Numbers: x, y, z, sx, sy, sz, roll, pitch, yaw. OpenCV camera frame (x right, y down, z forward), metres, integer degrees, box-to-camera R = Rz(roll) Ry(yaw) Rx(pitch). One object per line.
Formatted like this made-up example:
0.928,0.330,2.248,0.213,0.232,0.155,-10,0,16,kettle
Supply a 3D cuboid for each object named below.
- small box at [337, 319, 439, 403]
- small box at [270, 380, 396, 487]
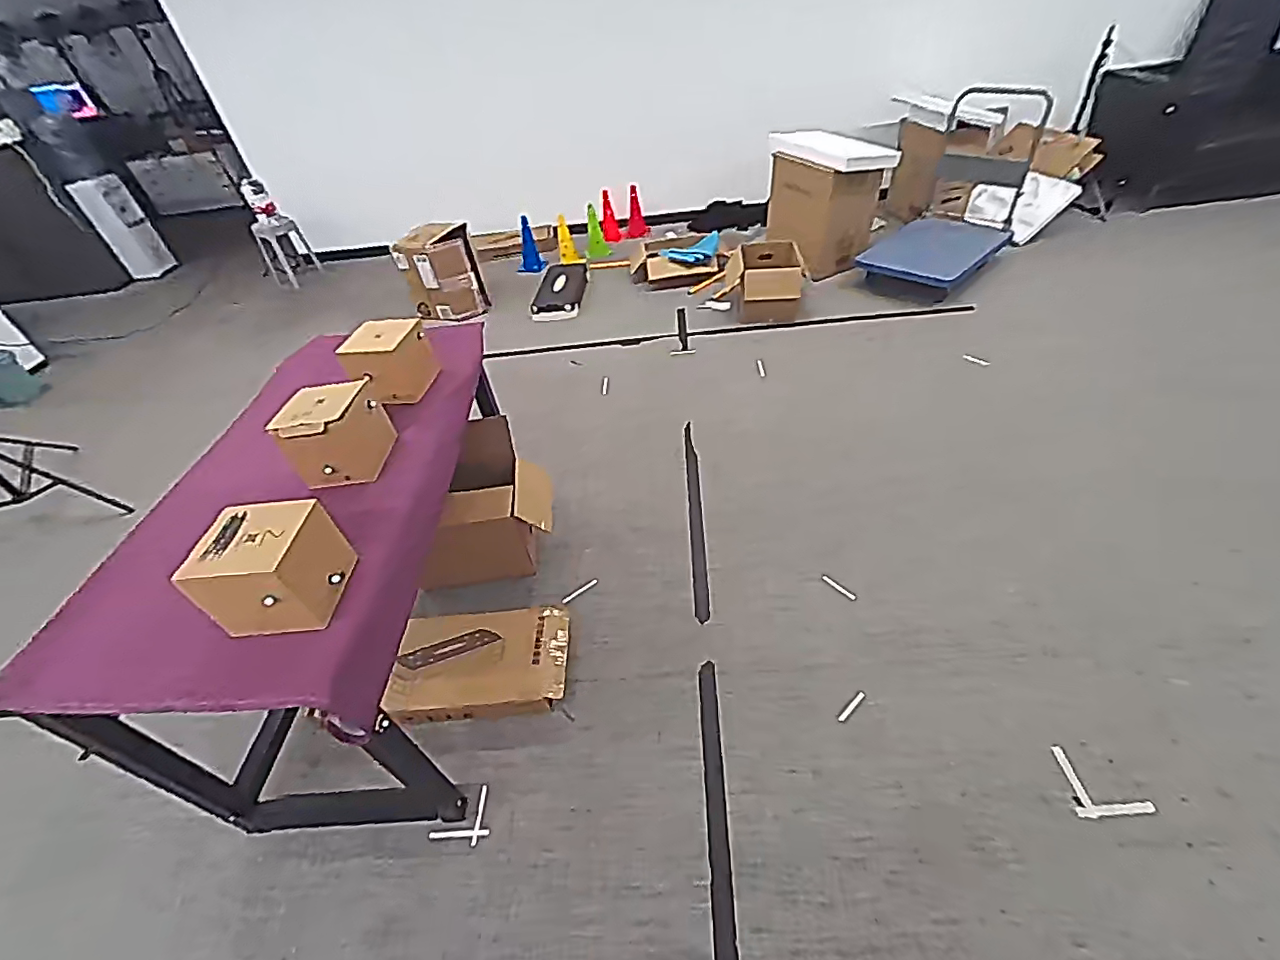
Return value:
-0.680,-0.322,1.486,0.168,0.176,0.179,-1,43,8,small box
-0.695,-0.106,1.253,0.168,0.176,0.179,-8,42,4,small box
